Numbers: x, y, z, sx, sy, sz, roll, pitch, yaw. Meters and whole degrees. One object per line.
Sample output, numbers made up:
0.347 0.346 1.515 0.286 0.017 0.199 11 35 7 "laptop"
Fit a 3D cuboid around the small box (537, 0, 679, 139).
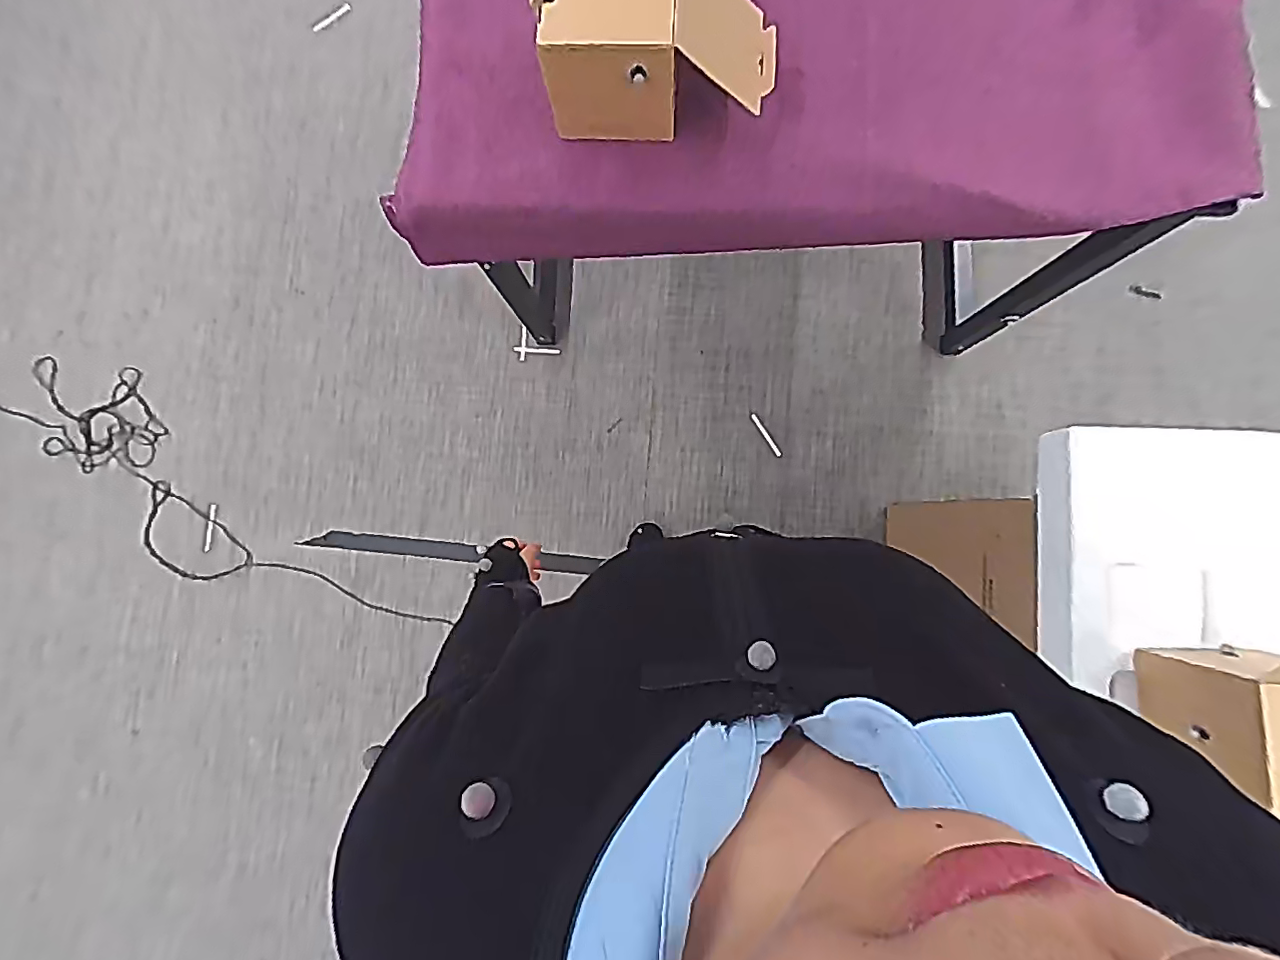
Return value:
-0.035 -0.613 0.760 0.179 0.176 0.168 3 84 4 "small box"
